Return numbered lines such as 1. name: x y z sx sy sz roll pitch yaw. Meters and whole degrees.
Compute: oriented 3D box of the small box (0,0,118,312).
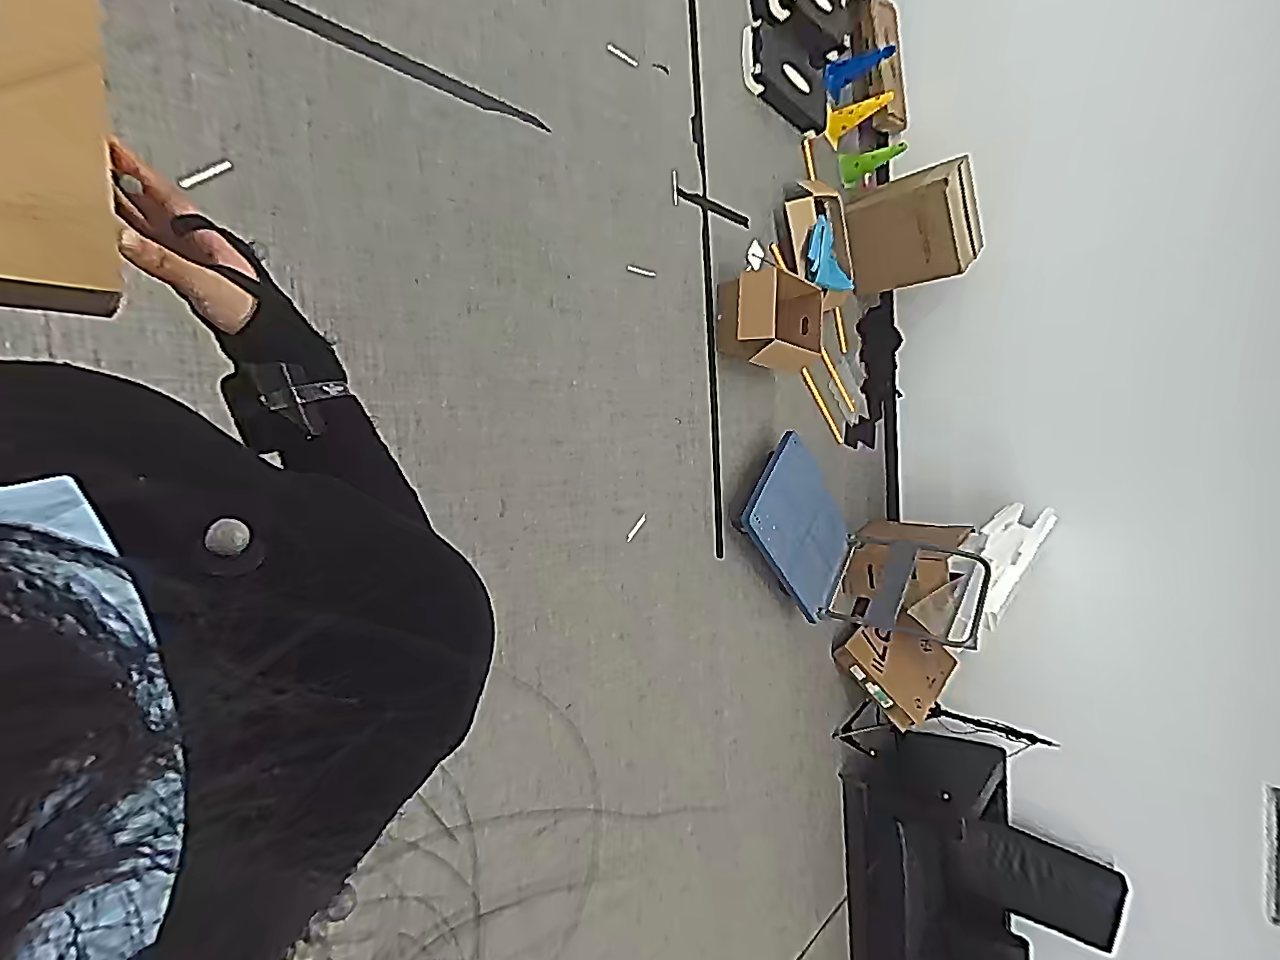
1. small box: -0.426 -0.203 0.317 0.168 0.176 0.179 -5 101 -46
